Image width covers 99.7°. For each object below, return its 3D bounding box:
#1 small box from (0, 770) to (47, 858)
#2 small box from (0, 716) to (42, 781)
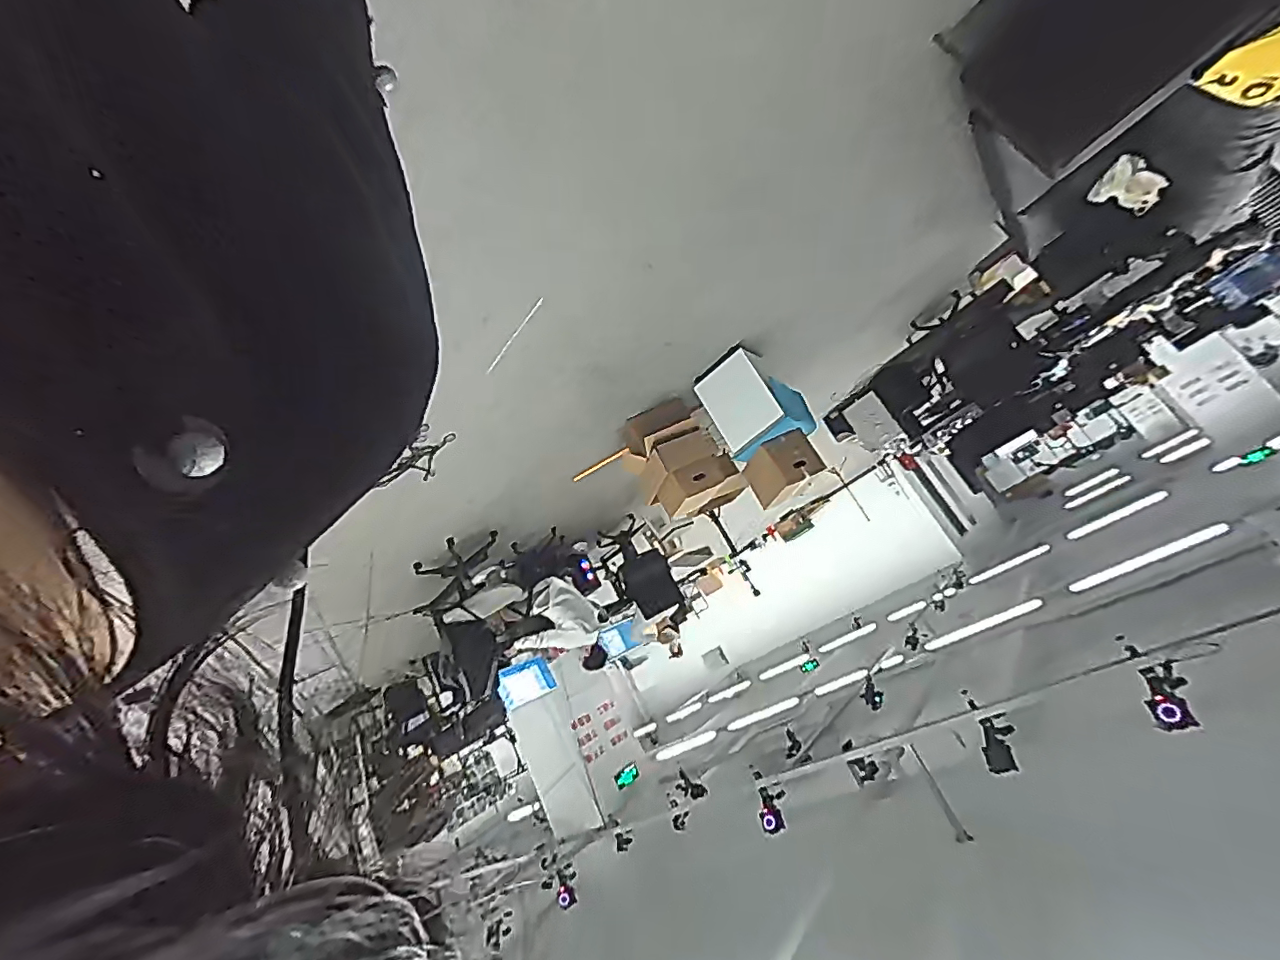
[{"bbox_3d":[-1.760,0.929,1.475,0.179,0.176,0.168,-10,153,-48],"label":"small box"},{"bbox_3d":[-1.834,0.796,1.529,0.179,0.176,0.168,-7,152,-50],"label":"small box"}]
